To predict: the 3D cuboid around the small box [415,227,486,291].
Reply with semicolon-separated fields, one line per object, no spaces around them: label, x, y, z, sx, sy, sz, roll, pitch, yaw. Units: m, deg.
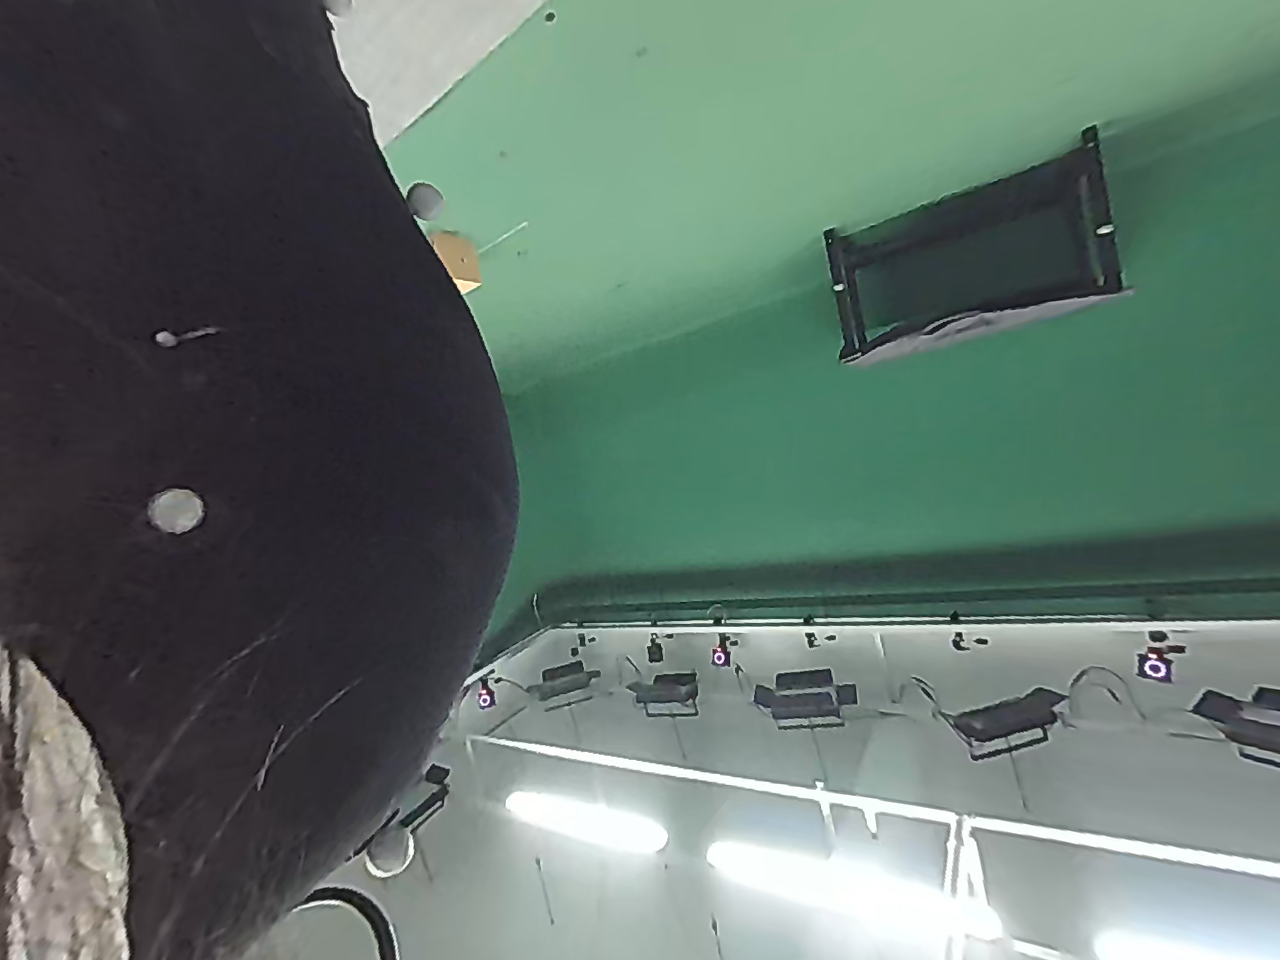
small box;-0.723;-0.837;2.053;0.168;0.176;0.179;-11;-175;33
